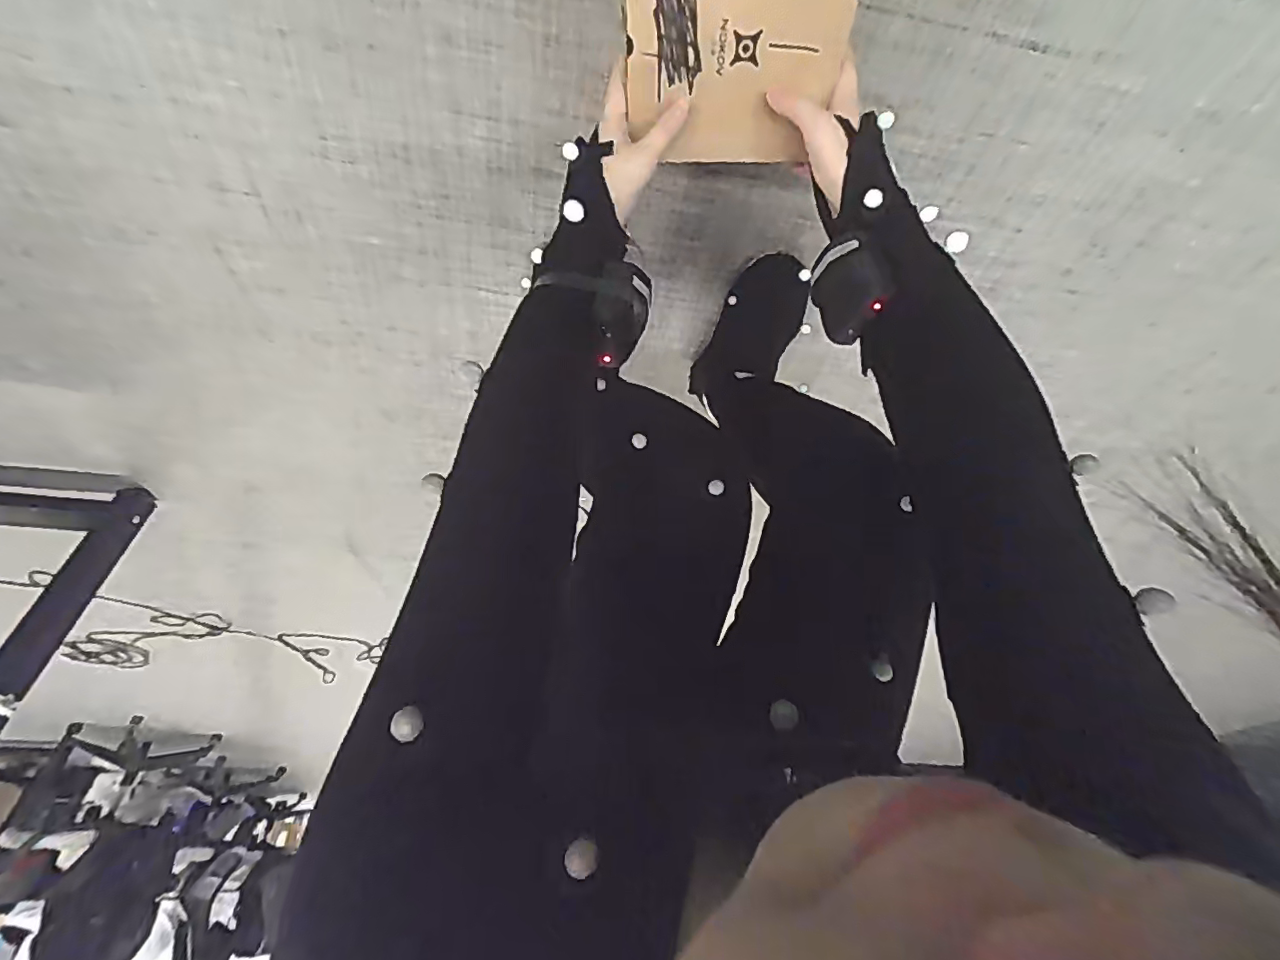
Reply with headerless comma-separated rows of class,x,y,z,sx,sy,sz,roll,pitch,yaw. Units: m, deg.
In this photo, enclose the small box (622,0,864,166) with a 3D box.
small box,0.075,-0.388,0.459,0.179,0.176,0.168,0,140,0
